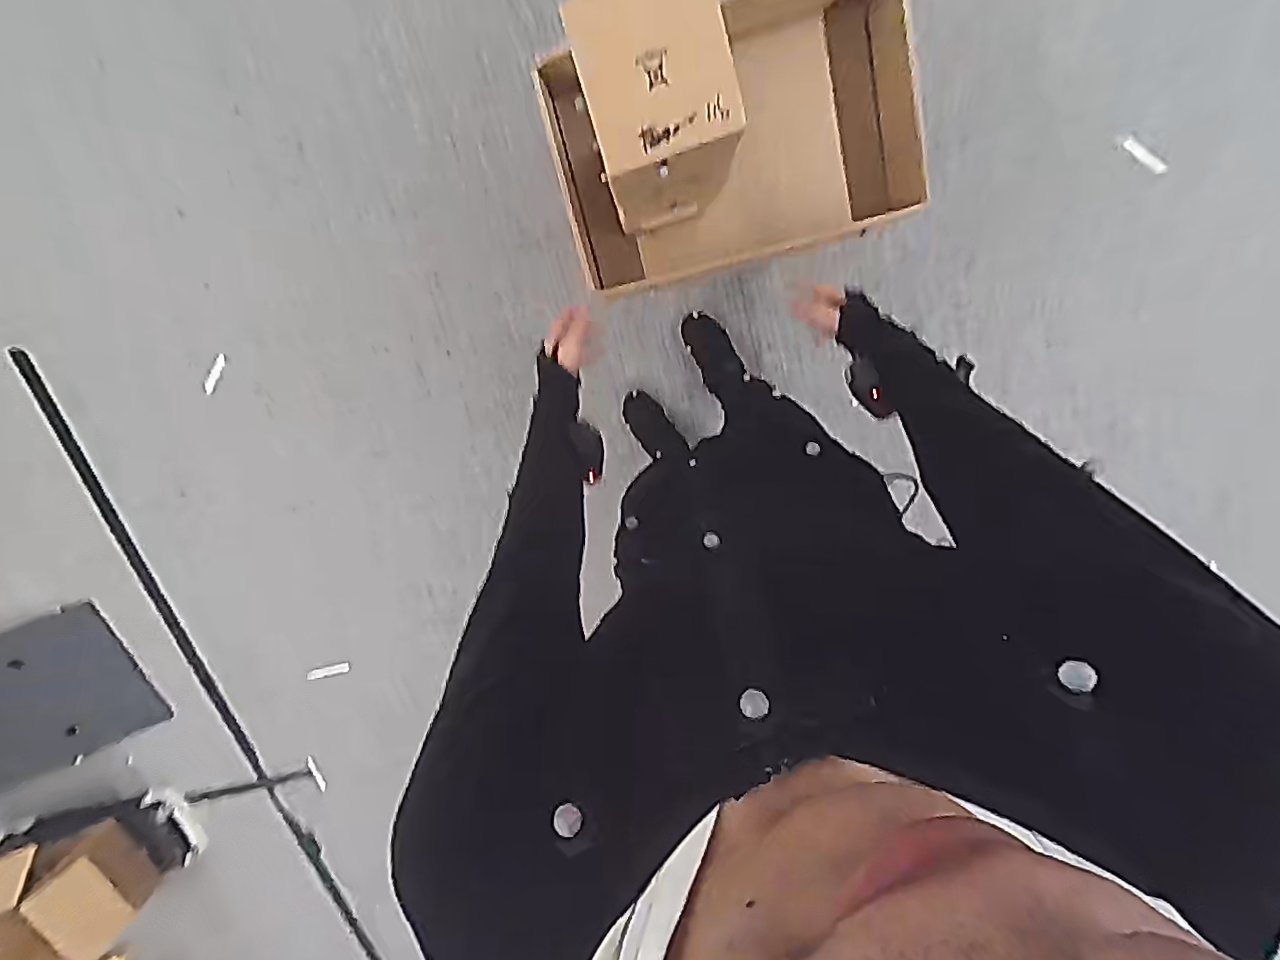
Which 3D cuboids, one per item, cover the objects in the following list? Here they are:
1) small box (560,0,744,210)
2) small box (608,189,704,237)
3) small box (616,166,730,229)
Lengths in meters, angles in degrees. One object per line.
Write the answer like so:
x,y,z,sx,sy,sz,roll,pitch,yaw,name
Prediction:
0.016,-0.462,0.664,0.168,0.176,0.179,-16,104,6,small box
0.022,-0.556,0.980,0.168,0.176,0.179,-15,104,5,small box
0.026,-0.508,0.822,0.168,0.176,0.179,-16,105,6,small box
